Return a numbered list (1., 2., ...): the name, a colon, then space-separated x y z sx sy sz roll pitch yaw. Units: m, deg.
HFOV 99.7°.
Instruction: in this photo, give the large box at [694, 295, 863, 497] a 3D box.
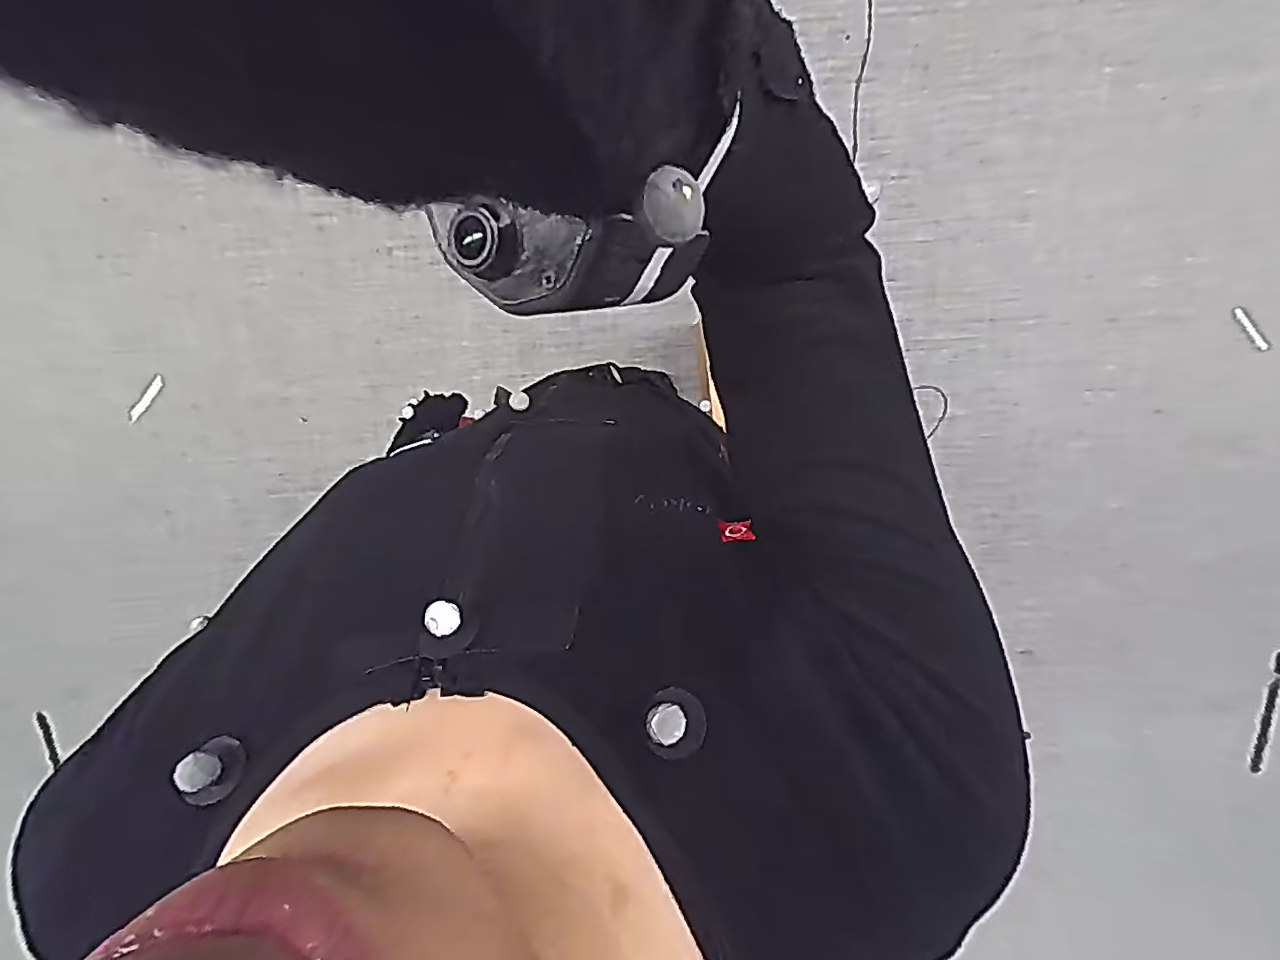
1. large box: 0.318 -0.206 1.308 0.320 0.320 0.408 -7 103 4
